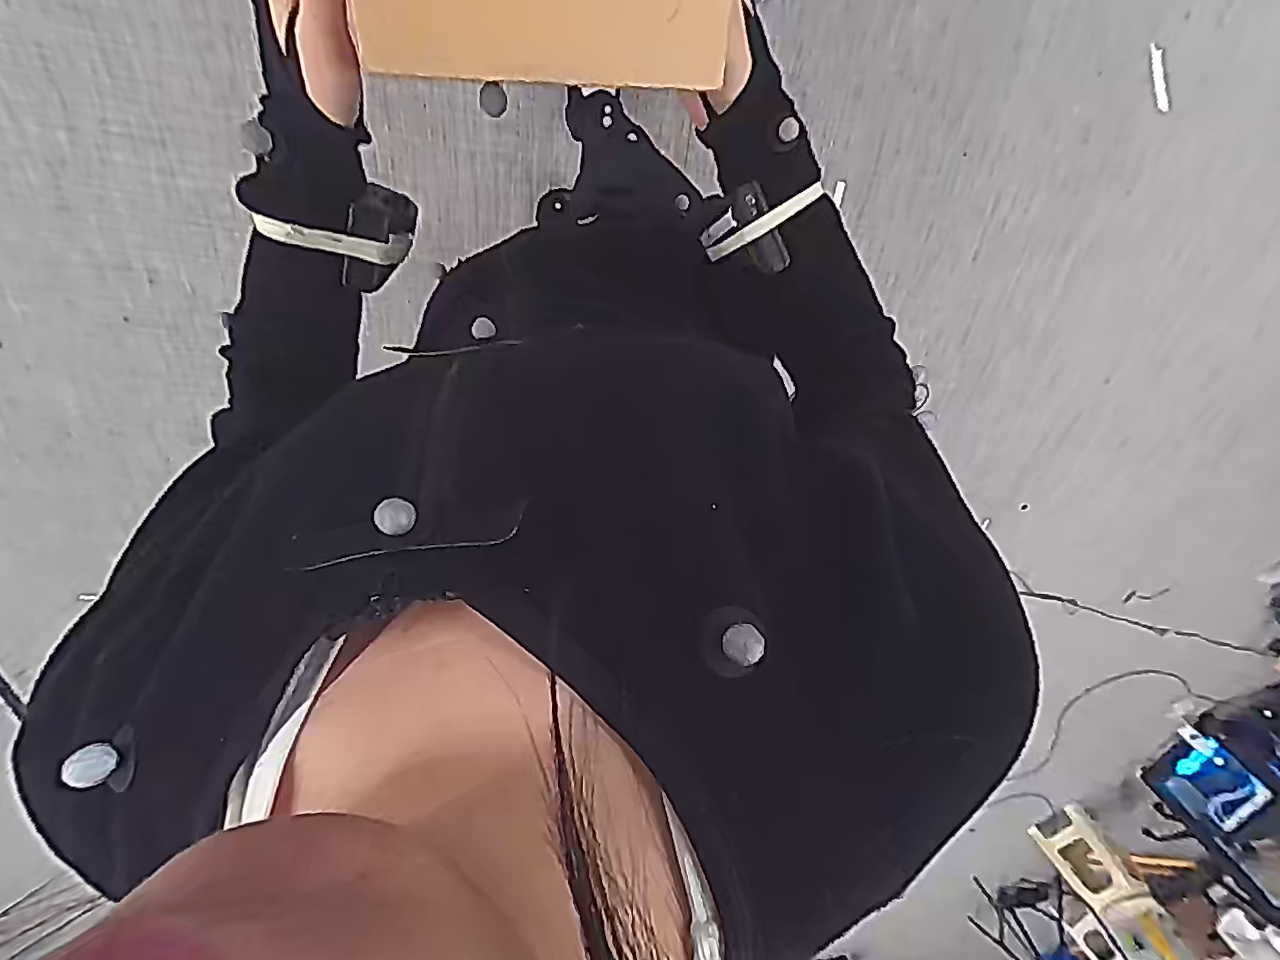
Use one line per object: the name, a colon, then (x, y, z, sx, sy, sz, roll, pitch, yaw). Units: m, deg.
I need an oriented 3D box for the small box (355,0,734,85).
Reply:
small box: (-0.057, -0.299, 0.255, 0.168, 0.176, 0.179, -10, 127, -17)
